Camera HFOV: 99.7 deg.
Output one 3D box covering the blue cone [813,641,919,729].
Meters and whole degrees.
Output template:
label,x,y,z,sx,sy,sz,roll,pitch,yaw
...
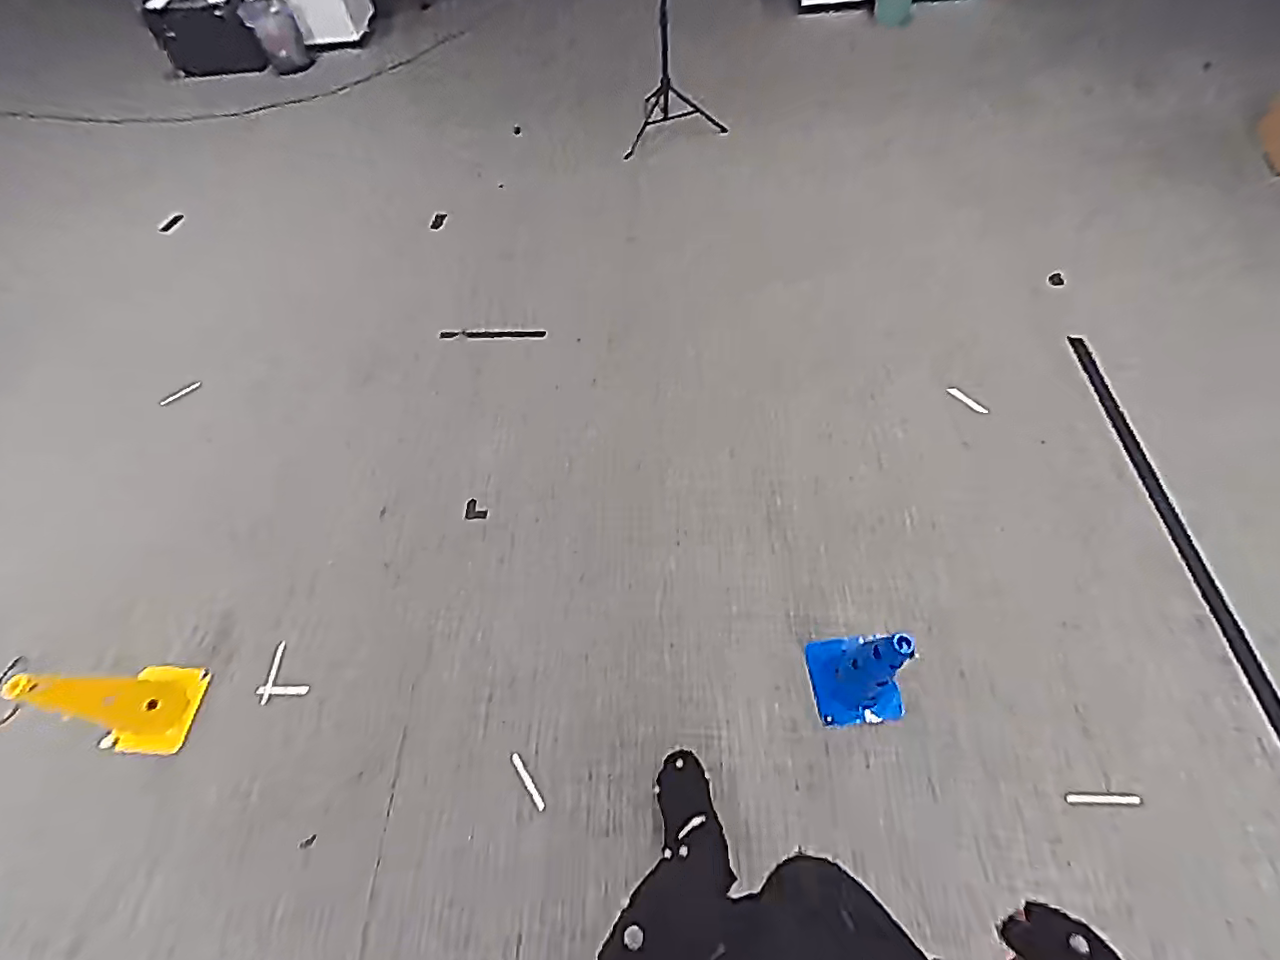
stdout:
label,x,y,z,sx,sy,sz,roll,pitch,yaw
blue cone,0.512,0.409,1.163,0.193,0.380,0.192,-6,60,1
